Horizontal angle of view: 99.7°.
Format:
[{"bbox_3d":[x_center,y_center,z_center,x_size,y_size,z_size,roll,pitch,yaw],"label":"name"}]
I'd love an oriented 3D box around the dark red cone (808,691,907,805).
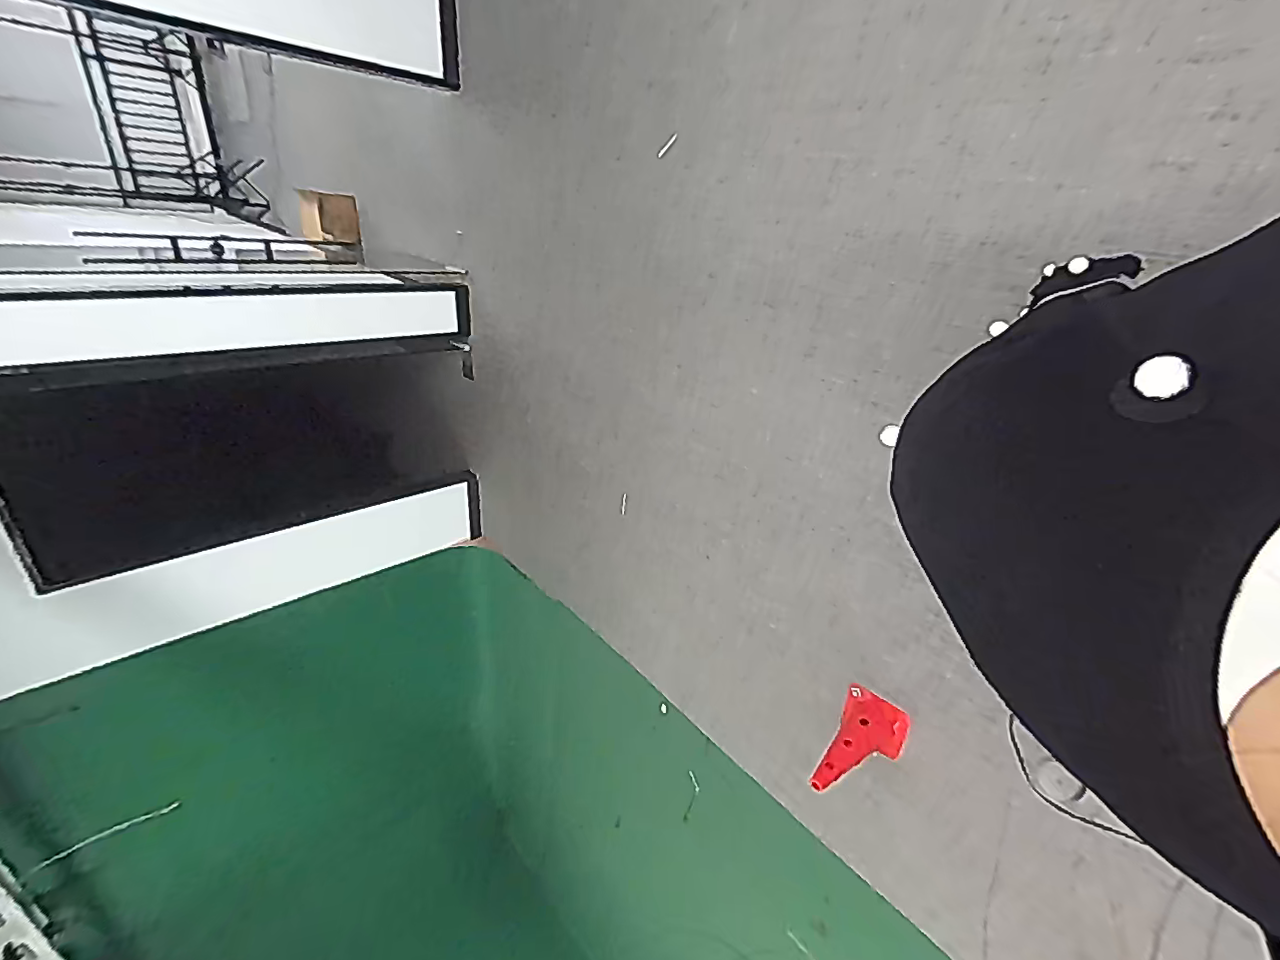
[{"bbox_3d":[0.627,0.842,1.642,0.202,0.394,0.201,24,123,42],"label":"dark red cone"}]
